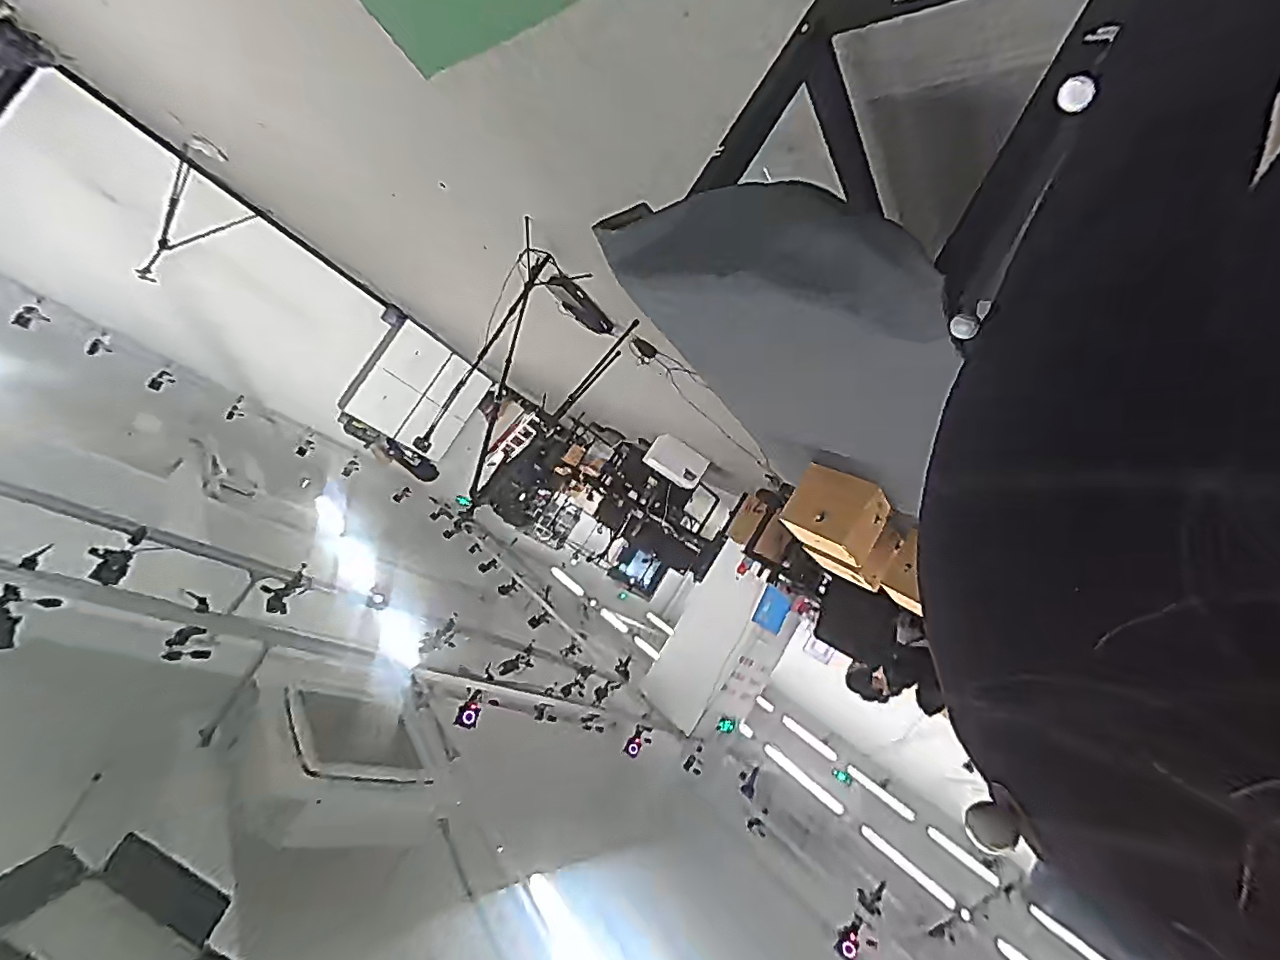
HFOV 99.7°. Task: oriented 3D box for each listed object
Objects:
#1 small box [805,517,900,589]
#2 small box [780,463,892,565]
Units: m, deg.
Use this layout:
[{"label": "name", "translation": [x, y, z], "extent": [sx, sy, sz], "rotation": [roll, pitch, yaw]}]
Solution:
[{"label": "small box", "translation": [0.600, 0.174, 1.509], "extent": [0.179, 0.176, 0.168], "rotation": [27, 173, 46]}, {"label": "small box", "translation": [0.482, 0.077, 1.324], "extent": [0.179, 0.176, 0.168], "rotation": [26, 171, 43]}]
